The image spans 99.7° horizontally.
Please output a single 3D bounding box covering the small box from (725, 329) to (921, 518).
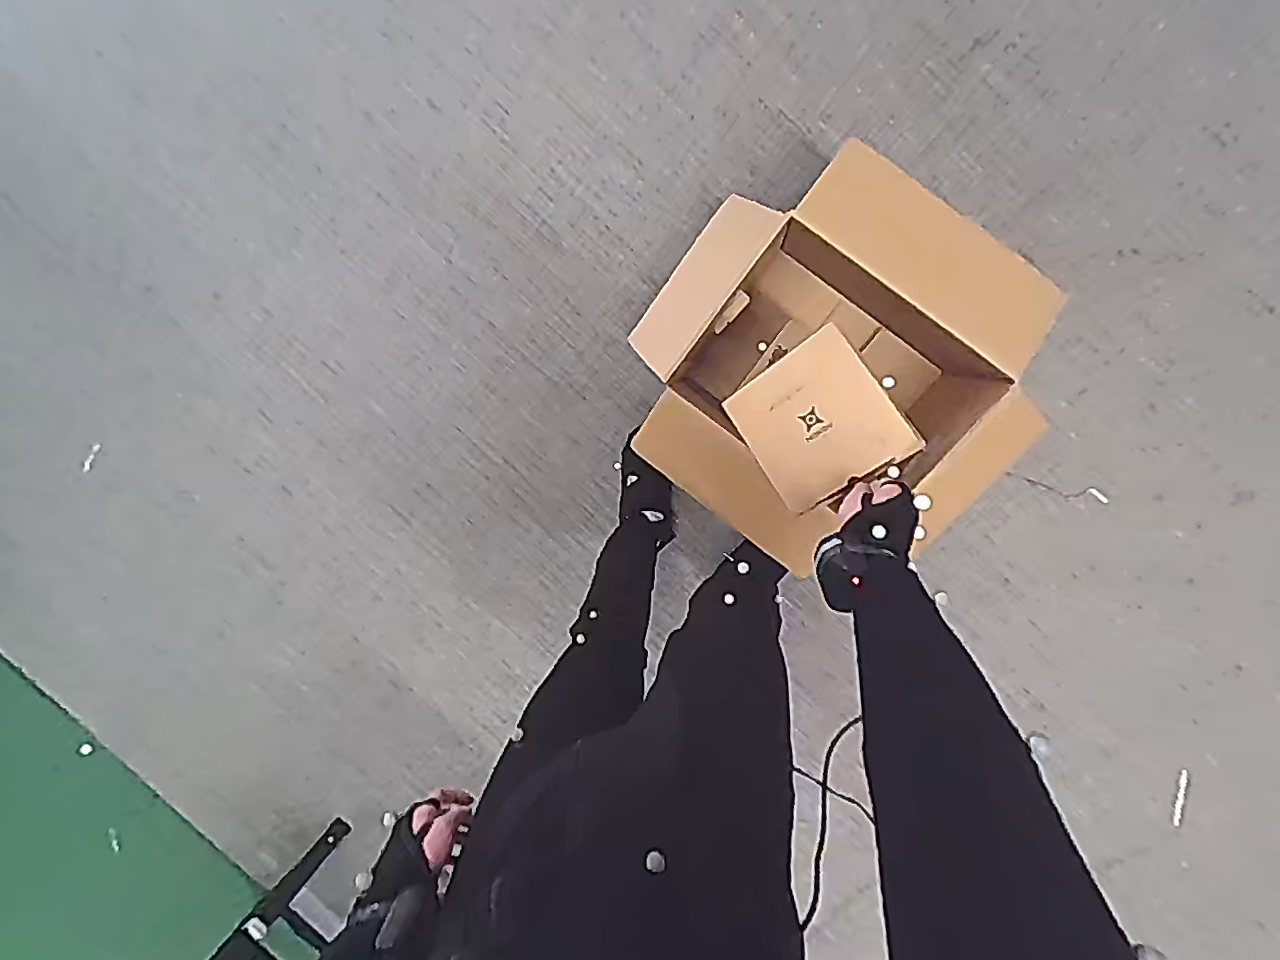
[{"bbox_3d":[0.250,-0.069,0.724,0.168,0.176,0.179,-38,71,25],"label":"small box"}]
